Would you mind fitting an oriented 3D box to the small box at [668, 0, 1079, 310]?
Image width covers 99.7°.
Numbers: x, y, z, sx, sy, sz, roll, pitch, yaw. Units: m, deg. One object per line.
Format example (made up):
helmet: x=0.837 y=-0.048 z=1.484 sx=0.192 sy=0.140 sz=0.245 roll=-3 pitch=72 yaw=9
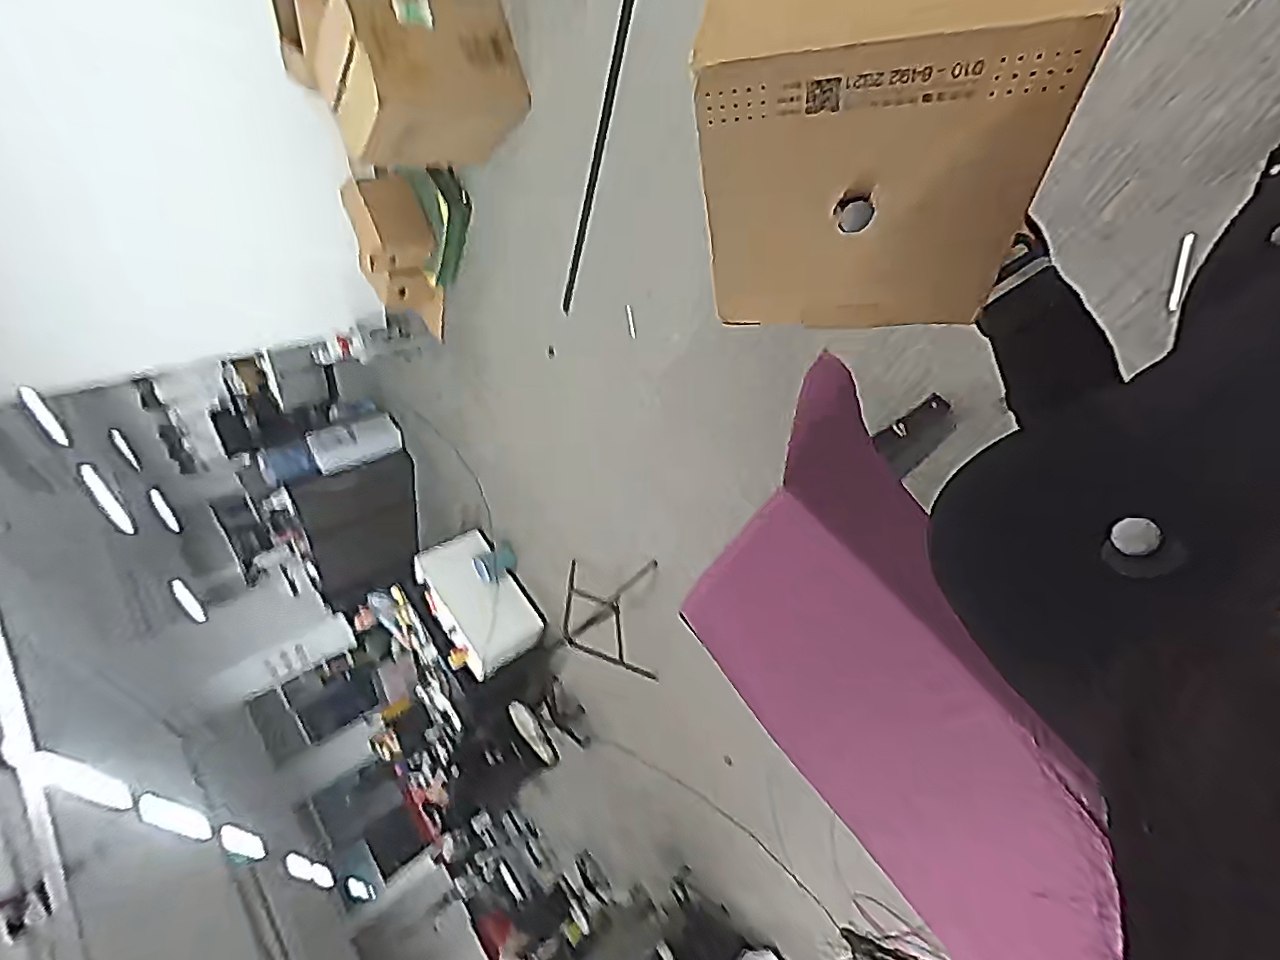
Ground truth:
small box: x=0.120 y=-0.223 z=0.313 sx=0.168 sy=0.179 sz=0.176 roll=6 pitch=154 yaw=16
